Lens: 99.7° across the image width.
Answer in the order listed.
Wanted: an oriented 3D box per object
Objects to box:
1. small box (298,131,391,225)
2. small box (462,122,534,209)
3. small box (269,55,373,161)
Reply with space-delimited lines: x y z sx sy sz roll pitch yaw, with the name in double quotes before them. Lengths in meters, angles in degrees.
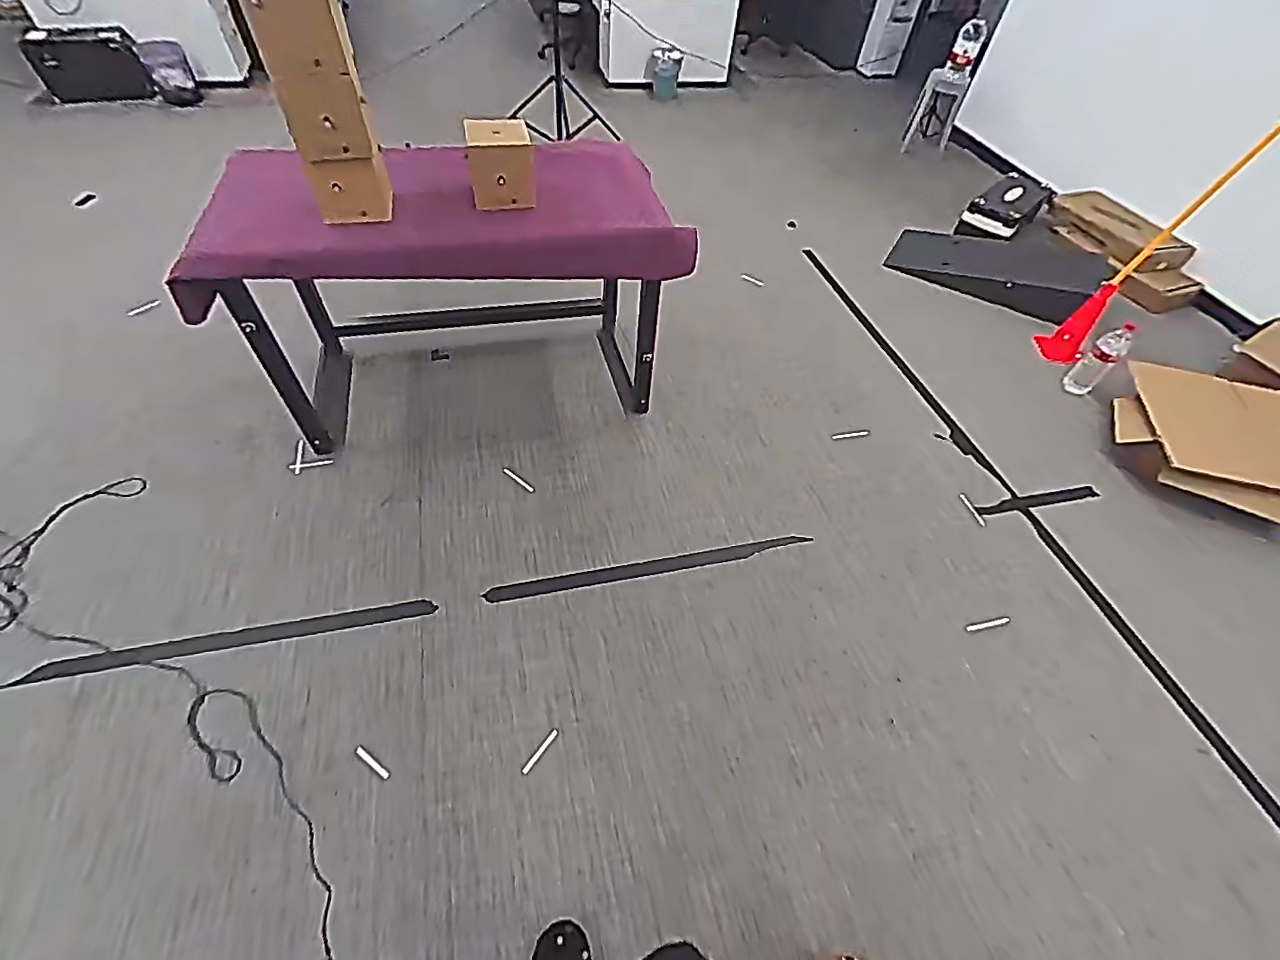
"small box" -0.761 -0.783 1.411 0.168 0.176 0.179 -10 53 -12
"small box" -0.395 -0.875 1.511 0.168 0.176 0.179 -9 53 -12
"small box" -0.741 -0.869 1.271 0.168 0.176 0.179 -13 54 -15
